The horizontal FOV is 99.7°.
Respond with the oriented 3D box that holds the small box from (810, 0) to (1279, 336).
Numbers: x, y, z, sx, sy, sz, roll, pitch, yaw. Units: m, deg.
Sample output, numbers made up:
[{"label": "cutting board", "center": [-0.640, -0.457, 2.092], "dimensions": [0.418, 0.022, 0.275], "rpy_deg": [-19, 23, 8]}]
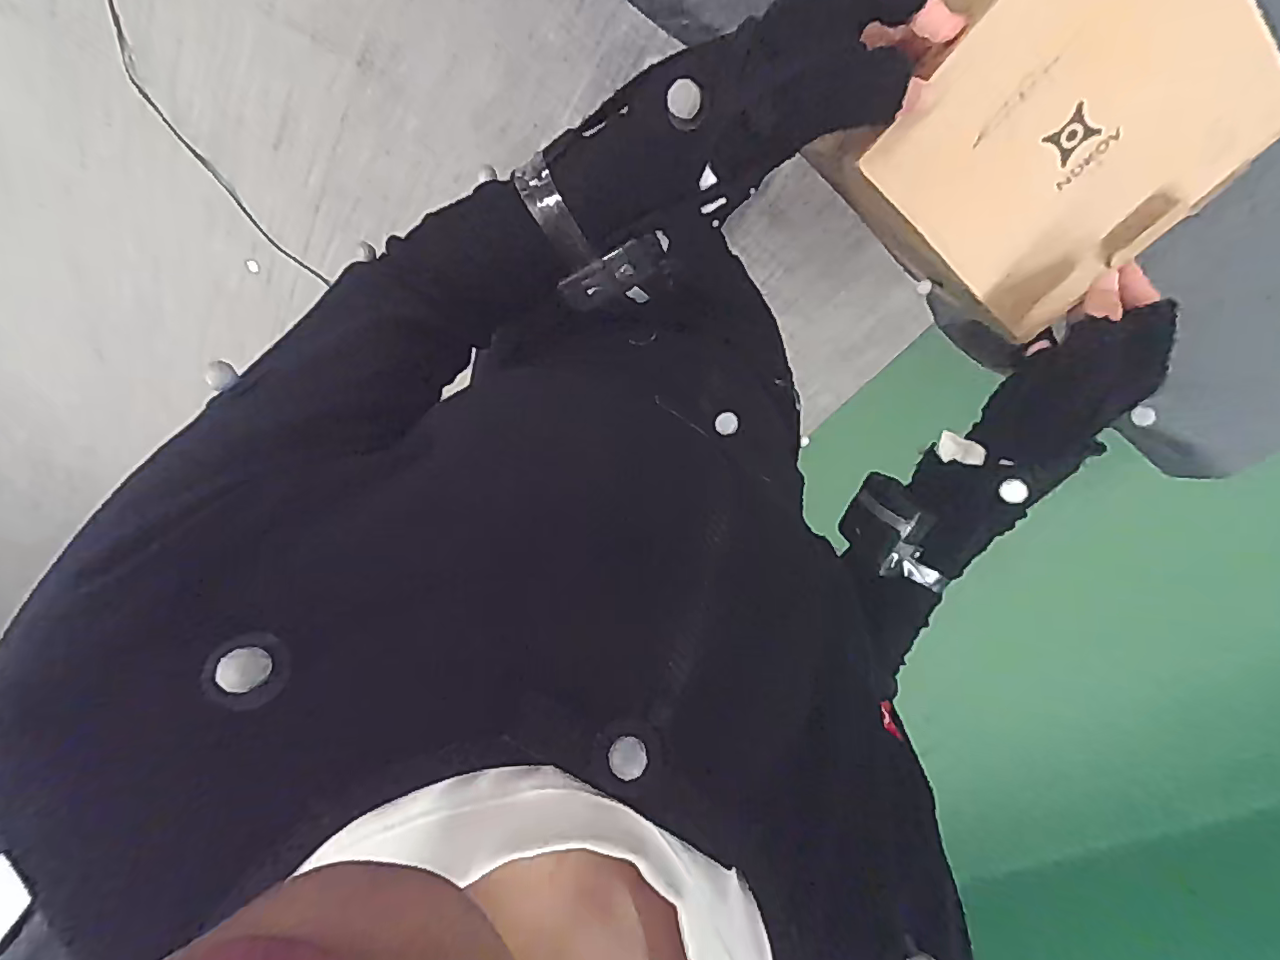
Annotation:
[{"label": "small box", "center": [0.248, -0.236, 0.367], "dimensions": [0.179, 0.176, 0.168], "rpy_deg": [33, 118, -18]}]
